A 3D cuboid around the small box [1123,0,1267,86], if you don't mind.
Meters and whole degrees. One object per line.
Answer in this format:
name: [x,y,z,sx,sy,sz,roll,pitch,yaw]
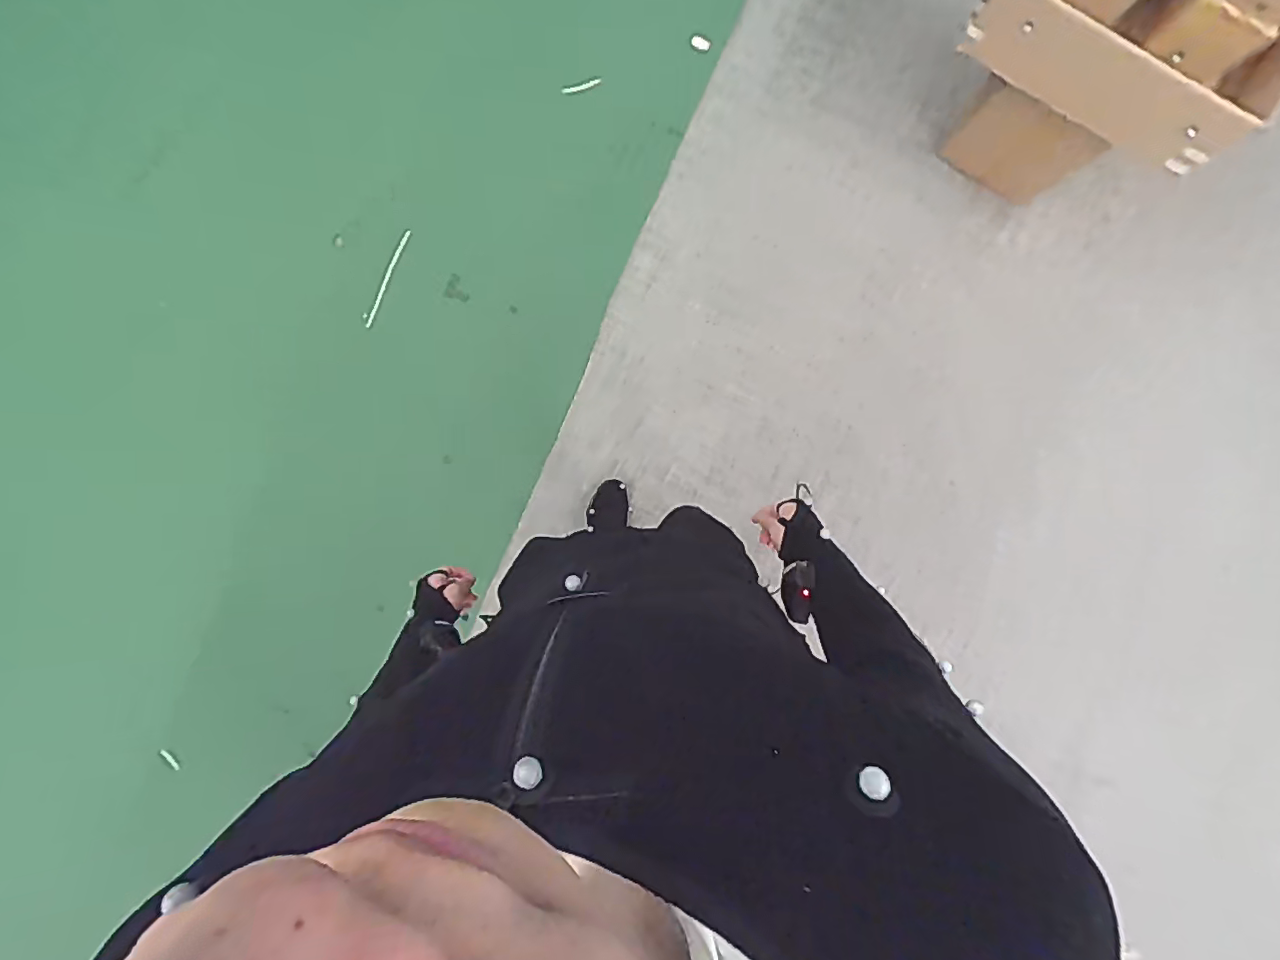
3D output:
small box: [1.178,-0.987,1.126,0.168,0.176,0.179,30,93,-2]
